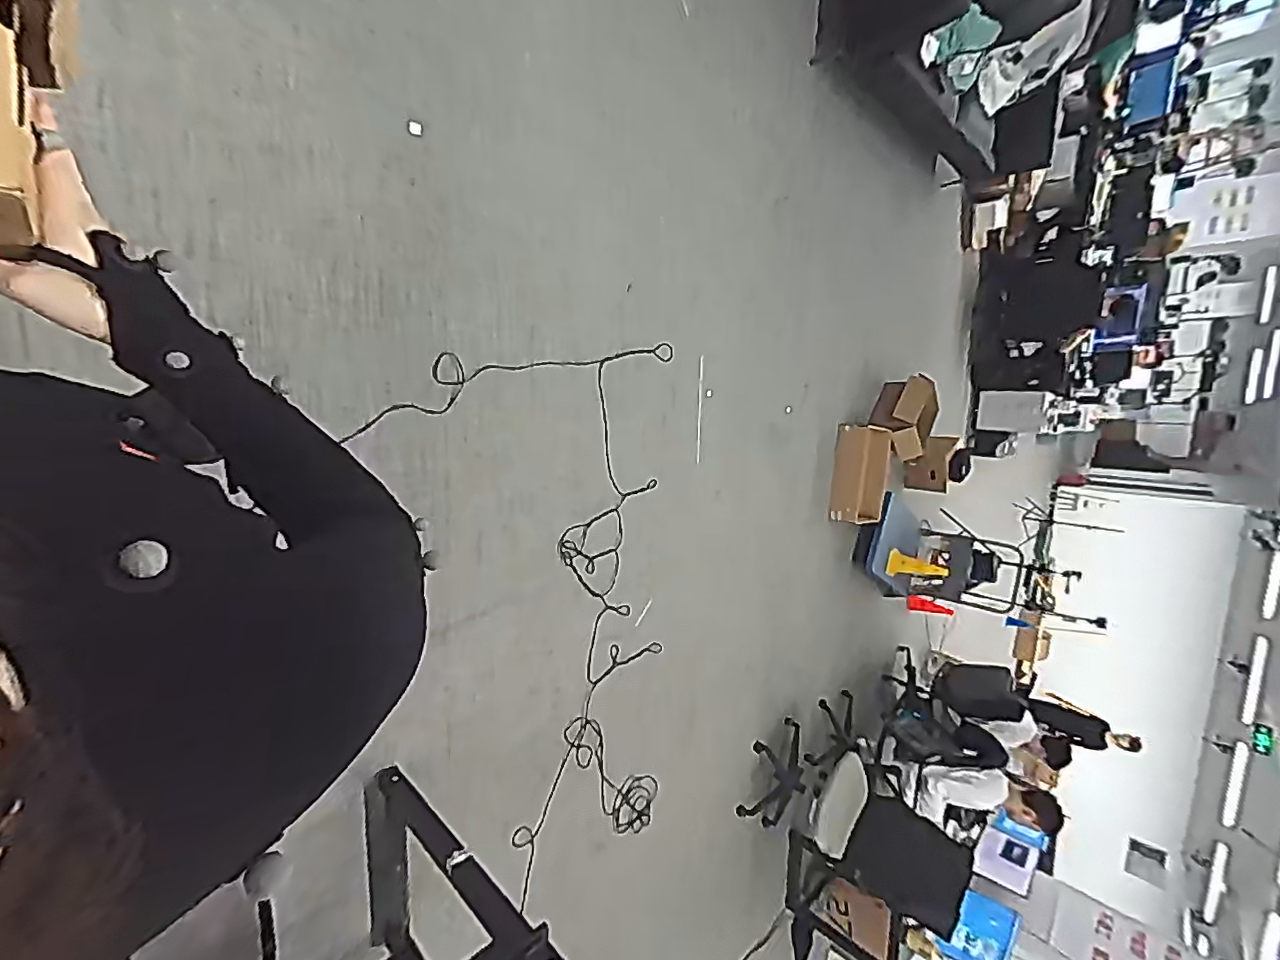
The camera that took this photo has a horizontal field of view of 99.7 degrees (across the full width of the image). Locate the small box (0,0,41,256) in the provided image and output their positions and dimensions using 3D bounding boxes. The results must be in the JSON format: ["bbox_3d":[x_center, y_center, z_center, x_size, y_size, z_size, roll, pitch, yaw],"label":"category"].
[{"bbox_3d":[-0.415,-0.222,0.253,0.179,0.176,0.168,-2,95,-48],"label":"small box"}]
